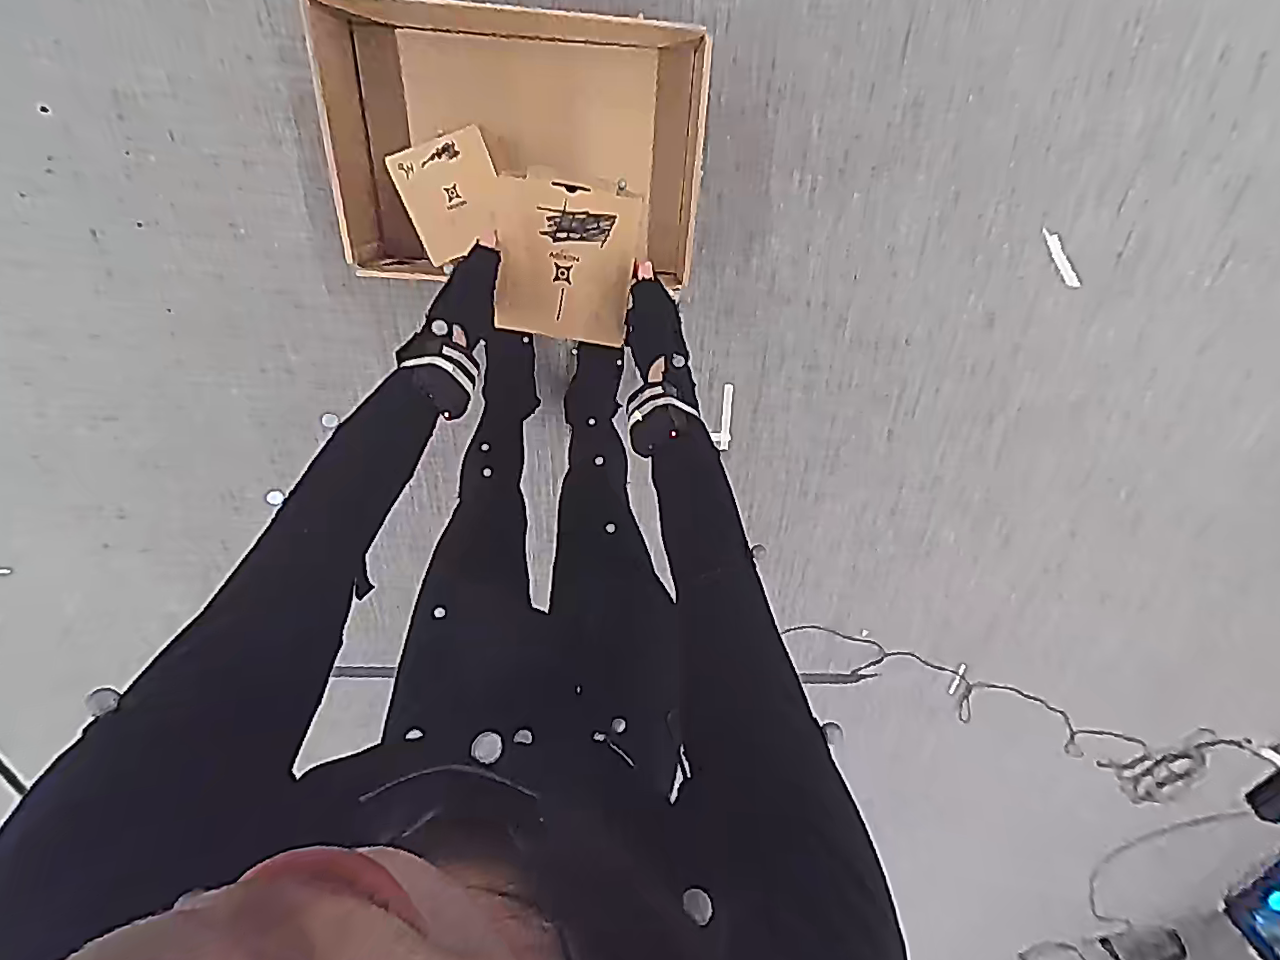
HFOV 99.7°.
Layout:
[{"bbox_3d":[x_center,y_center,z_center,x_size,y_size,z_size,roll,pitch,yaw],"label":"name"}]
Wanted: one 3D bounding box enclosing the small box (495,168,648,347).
[{"bbox_3d":[-0.086,-0.294,0.710,0.168,0.176,0.179,9,119,-4],"label":"small box"}]
